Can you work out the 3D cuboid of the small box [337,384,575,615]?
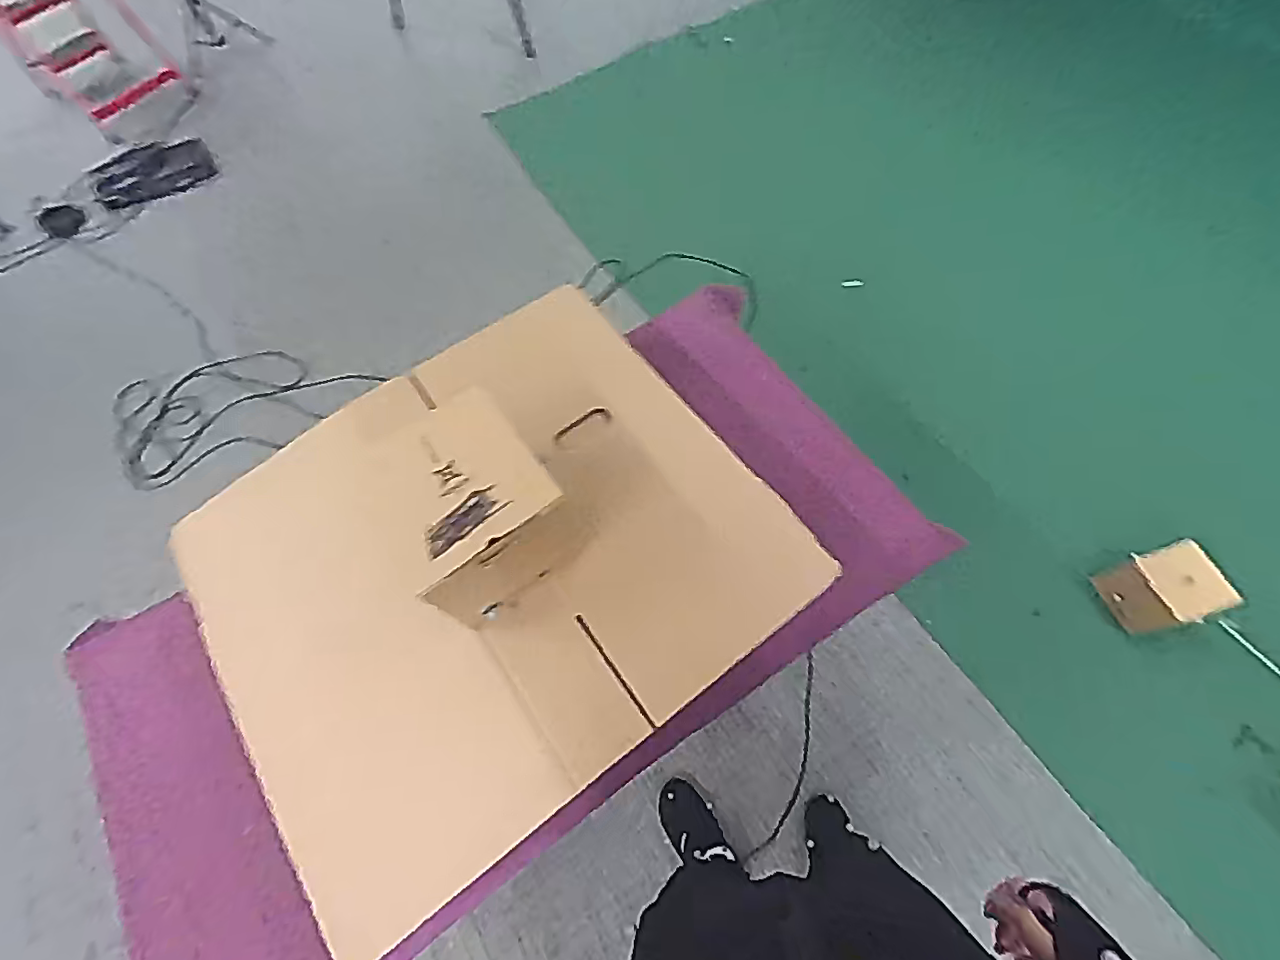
[{"bbox_3d":[-0.191,0.034,0.610,0.168,0.176,0.179,-35,68,-14],"label":"small box"}]

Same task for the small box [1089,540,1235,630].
[{"bbox_3d":[1.347,0.278,1.411,0.179,0.176,0.168,-19,66,-4],"label":"small box"}]
